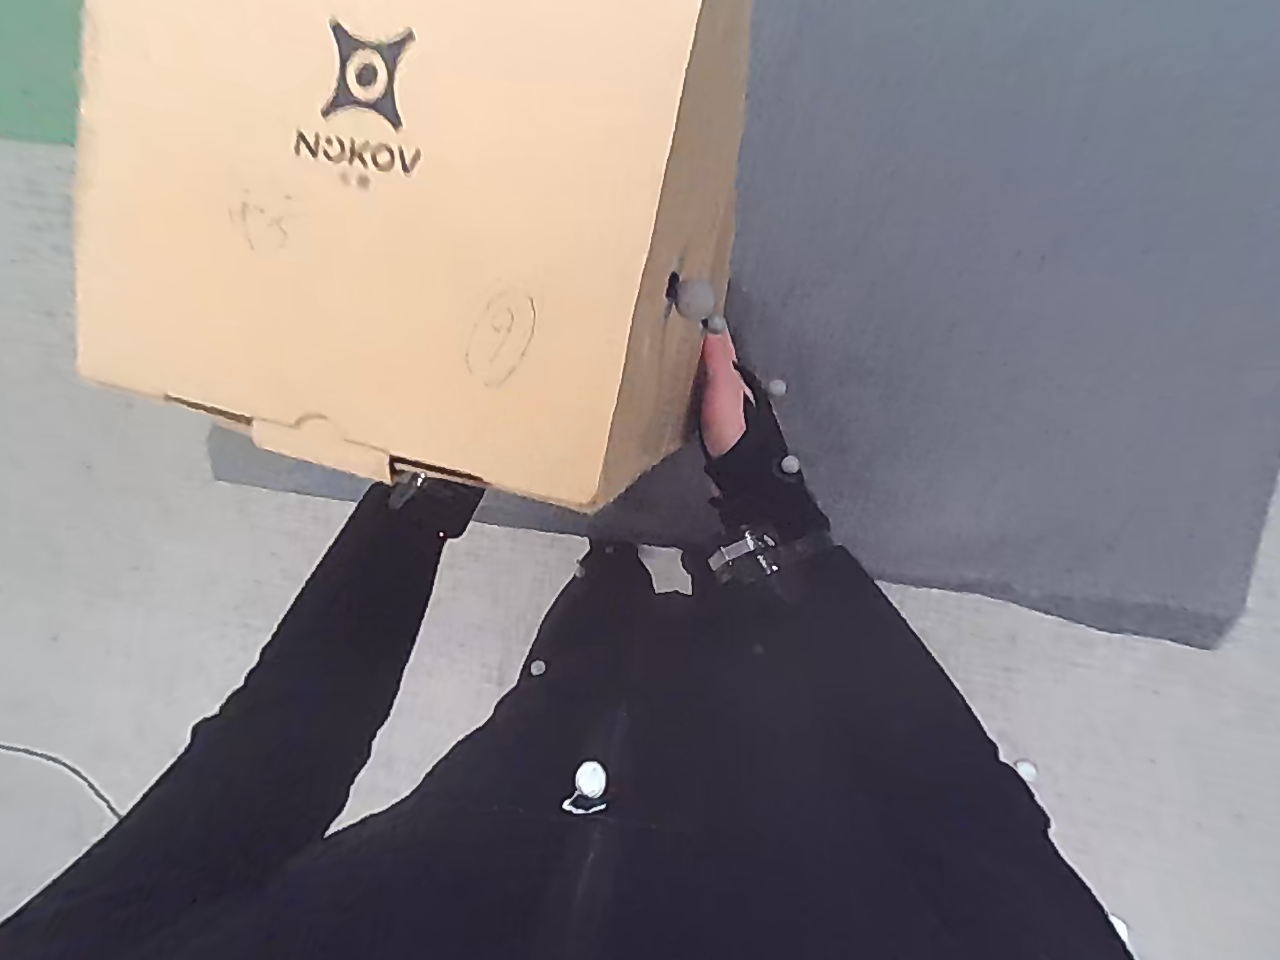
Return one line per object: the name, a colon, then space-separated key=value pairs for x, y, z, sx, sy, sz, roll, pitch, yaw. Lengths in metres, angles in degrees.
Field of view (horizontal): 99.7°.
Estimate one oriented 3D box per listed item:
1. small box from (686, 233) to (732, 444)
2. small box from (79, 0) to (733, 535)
small box: x=-0.005 y=-0.138 z=0.536 sx=0.168 sy=0.176 sz=0.179 roll=9 pitch=99 yaw=9
small box: x=-0.060 y=-0.098 z=0.218 sx=0.168 sy=0.176 sz=0.179 roll=14 pitch=100 yaw=8
